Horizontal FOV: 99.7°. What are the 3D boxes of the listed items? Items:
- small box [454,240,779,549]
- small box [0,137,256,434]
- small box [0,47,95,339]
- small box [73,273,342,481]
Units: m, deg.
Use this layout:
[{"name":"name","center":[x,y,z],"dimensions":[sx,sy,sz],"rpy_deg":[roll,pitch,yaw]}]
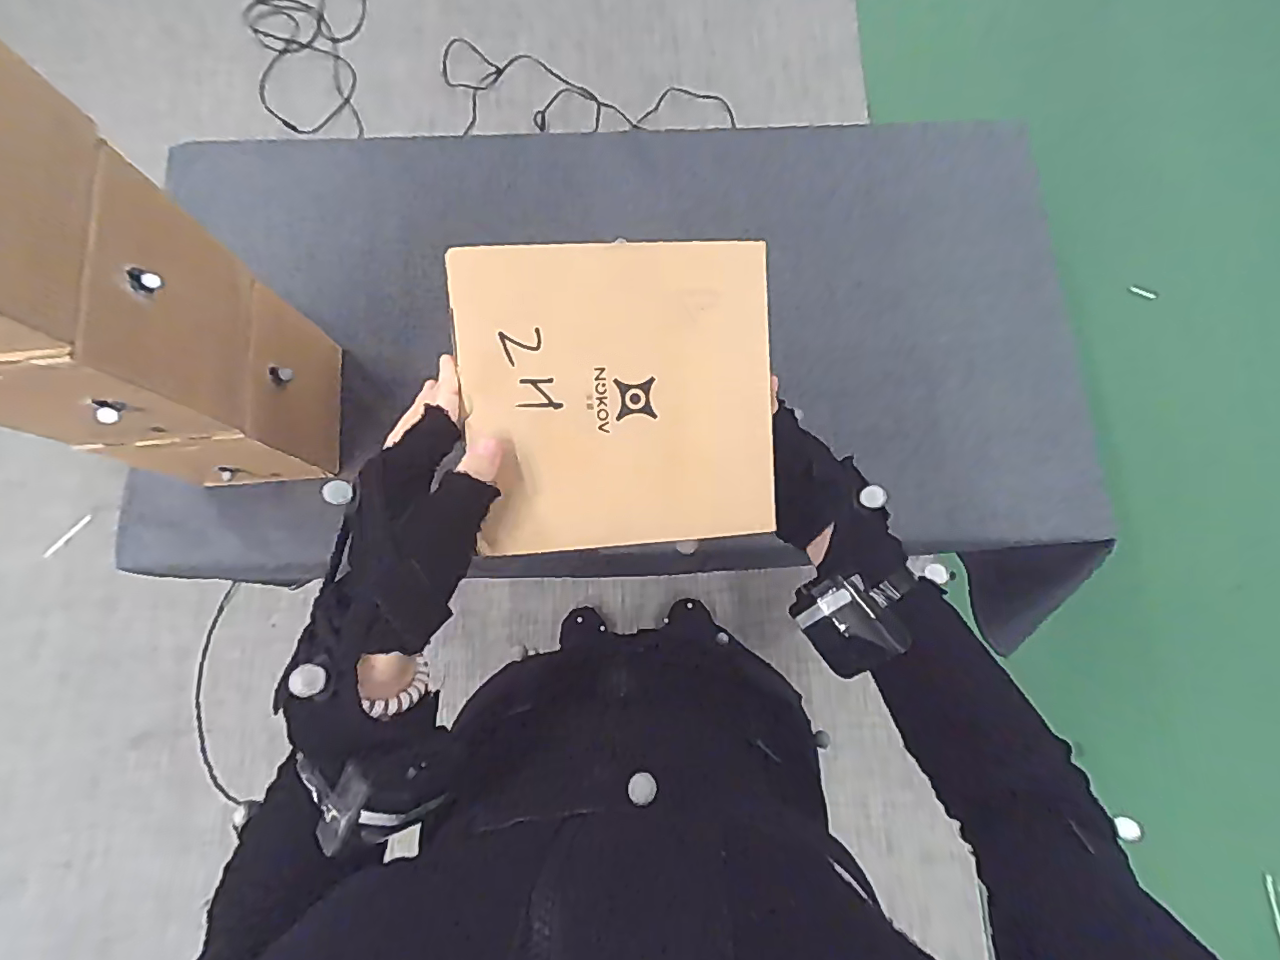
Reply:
[{"name":"small box","center":[-0.019,-0.054,0.376],"dimensions":[0.179,0.176,0.168],"rpy_deg":[-4,95,-7]},{"name":"small box","center":[-0.459,-0.142,0.450],"dimensions":[0.168,0.176,0.179],"rpy_deg":[-4,78,-2]},{"name":"small box","center":[-0.458,-0.184,0.292],"dimensions":[0.168,0.176,0.179],"rpy_deg":[-5,78,-3]},{"name":"small box","center":[-0.461,-0.105,0.609],"dimensions":[0.168,0.176,0.179],"rpy_deg":[-4,78,-1]}]
